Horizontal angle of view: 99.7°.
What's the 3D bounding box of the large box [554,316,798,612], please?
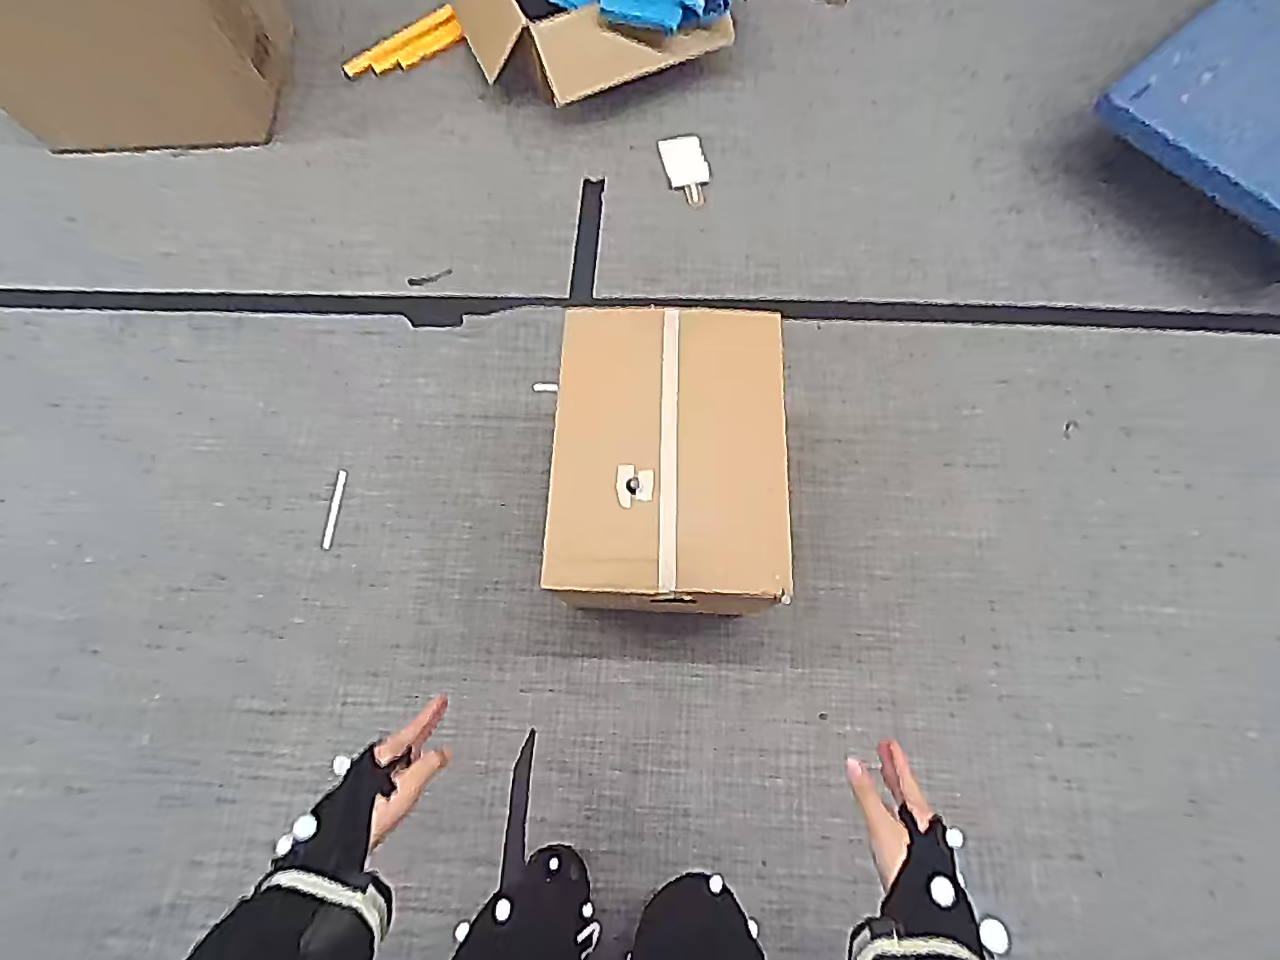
[{"bbox_3d":[0.046,-0.005,0.871,0.320,0.320,0.408,1,73,1],"label":"large box"}]
